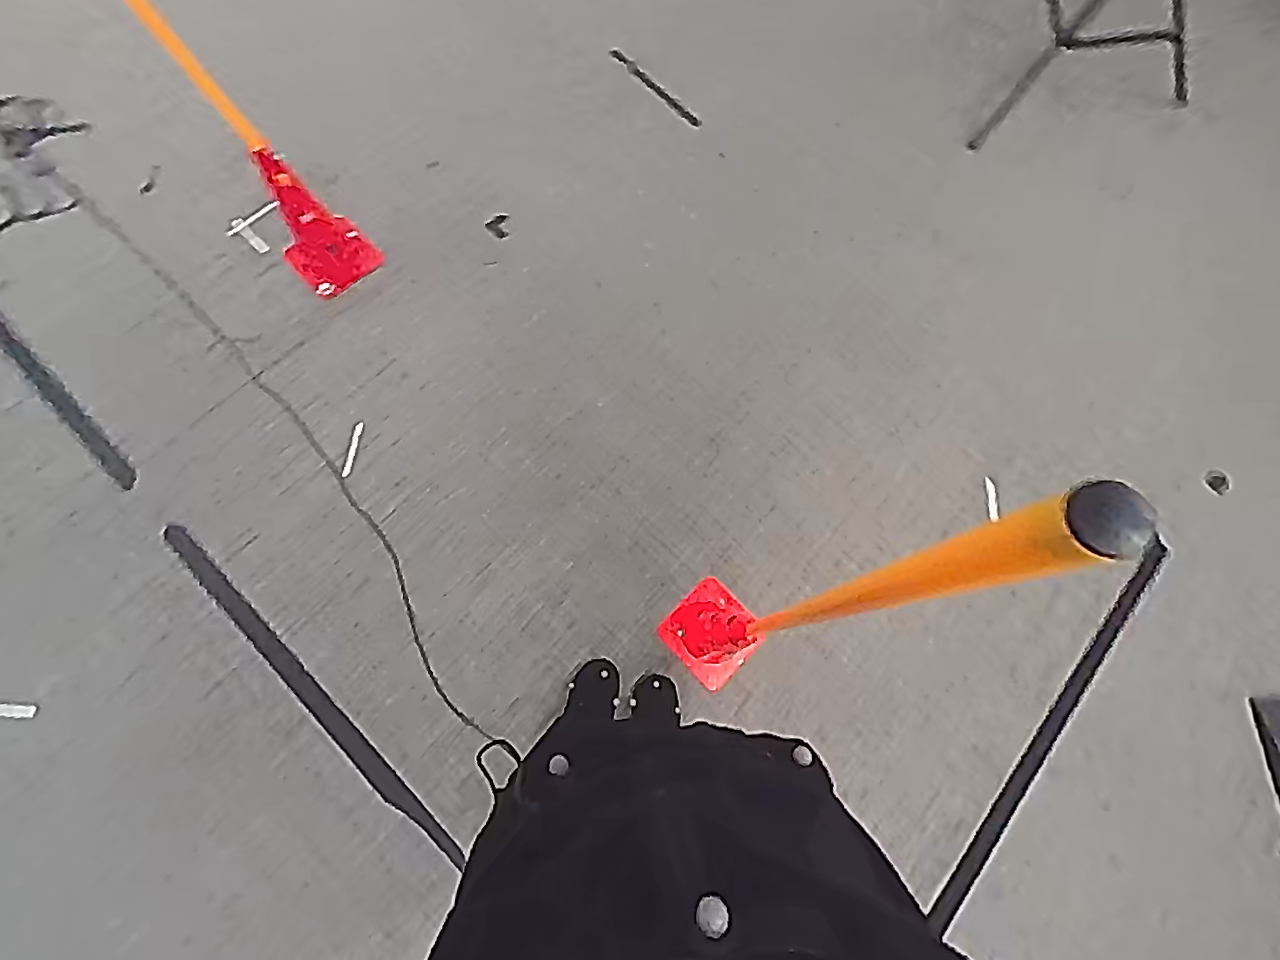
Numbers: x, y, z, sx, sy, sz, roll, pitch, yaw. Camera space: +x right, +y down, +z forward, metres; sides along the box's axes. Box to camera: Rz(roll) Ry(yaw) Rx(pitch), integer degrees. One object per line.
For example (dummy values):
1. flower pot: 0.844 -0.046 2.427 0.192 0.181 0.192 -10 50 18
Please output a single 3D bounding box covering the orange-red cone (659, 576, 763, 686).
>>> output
1. orange-red cone: 0.184 0.310 1.115 0.198 0.360 0.199 -41 82 -14
